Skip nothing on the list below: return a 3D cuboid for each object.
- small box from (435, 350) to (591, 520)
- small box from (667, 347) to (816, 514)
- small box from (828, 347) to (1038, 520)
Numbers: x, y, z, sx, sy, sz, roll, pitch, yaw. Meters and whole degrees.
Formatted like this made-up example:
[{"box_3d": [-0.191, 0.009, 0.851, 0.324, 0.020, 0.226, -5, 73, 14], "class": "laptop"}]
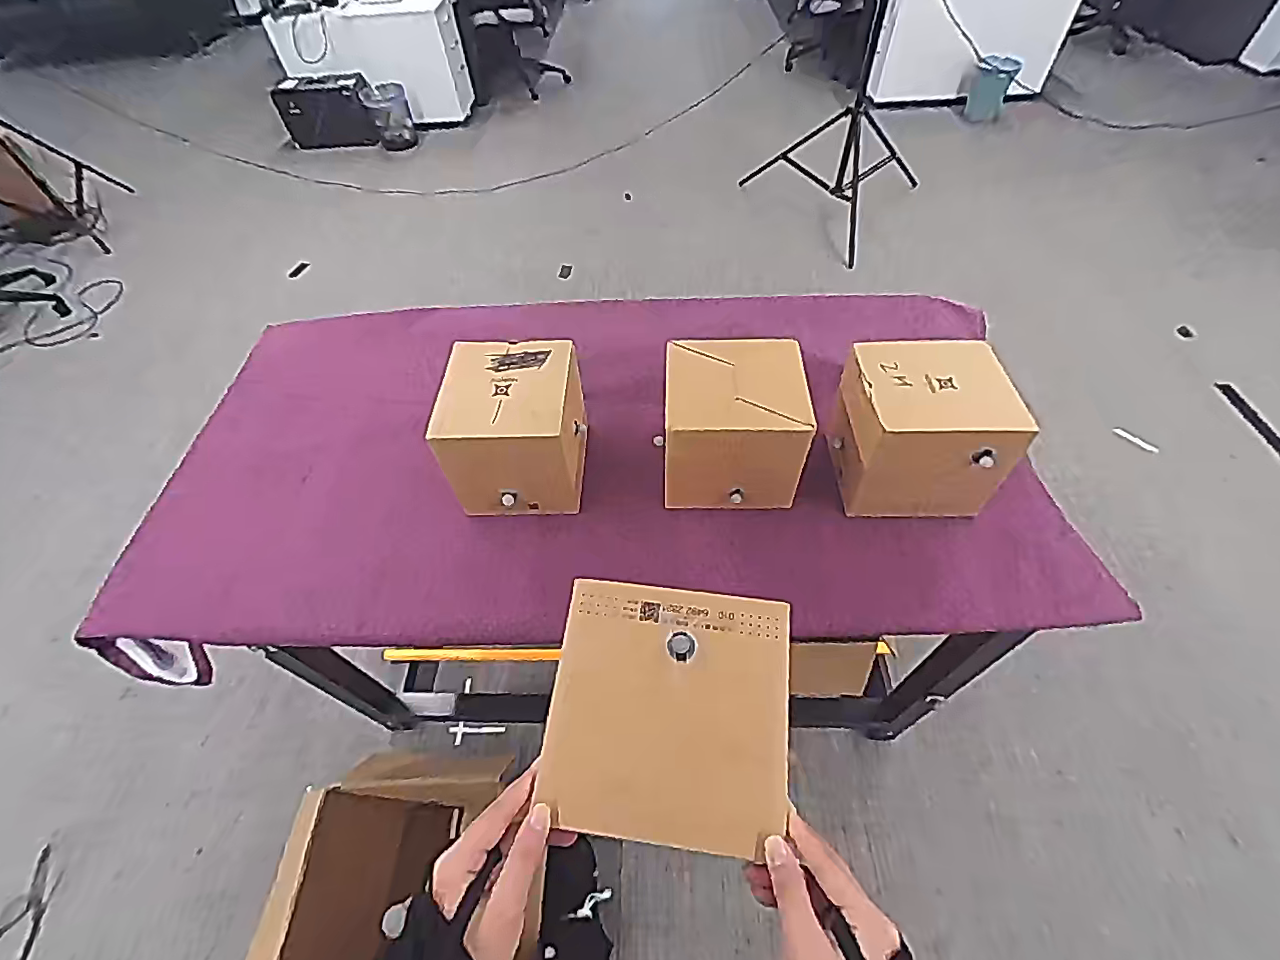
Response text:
[{"box_3d": [-0.162, -0.062, 0.760, 0.168, 0.176, 0.179, -1, 52, 3], "class": "small box"}, {"box_3d": [0.126, -0.068, 0.744, 0.179, 0.176, 0.168, 0, 51, 4], "class": "small box"}, {"box_3d": [0.371, -0.059, 0.725, 0.179, 0.176, 0.168, 0, 50, 3], "class": "small box"}]
